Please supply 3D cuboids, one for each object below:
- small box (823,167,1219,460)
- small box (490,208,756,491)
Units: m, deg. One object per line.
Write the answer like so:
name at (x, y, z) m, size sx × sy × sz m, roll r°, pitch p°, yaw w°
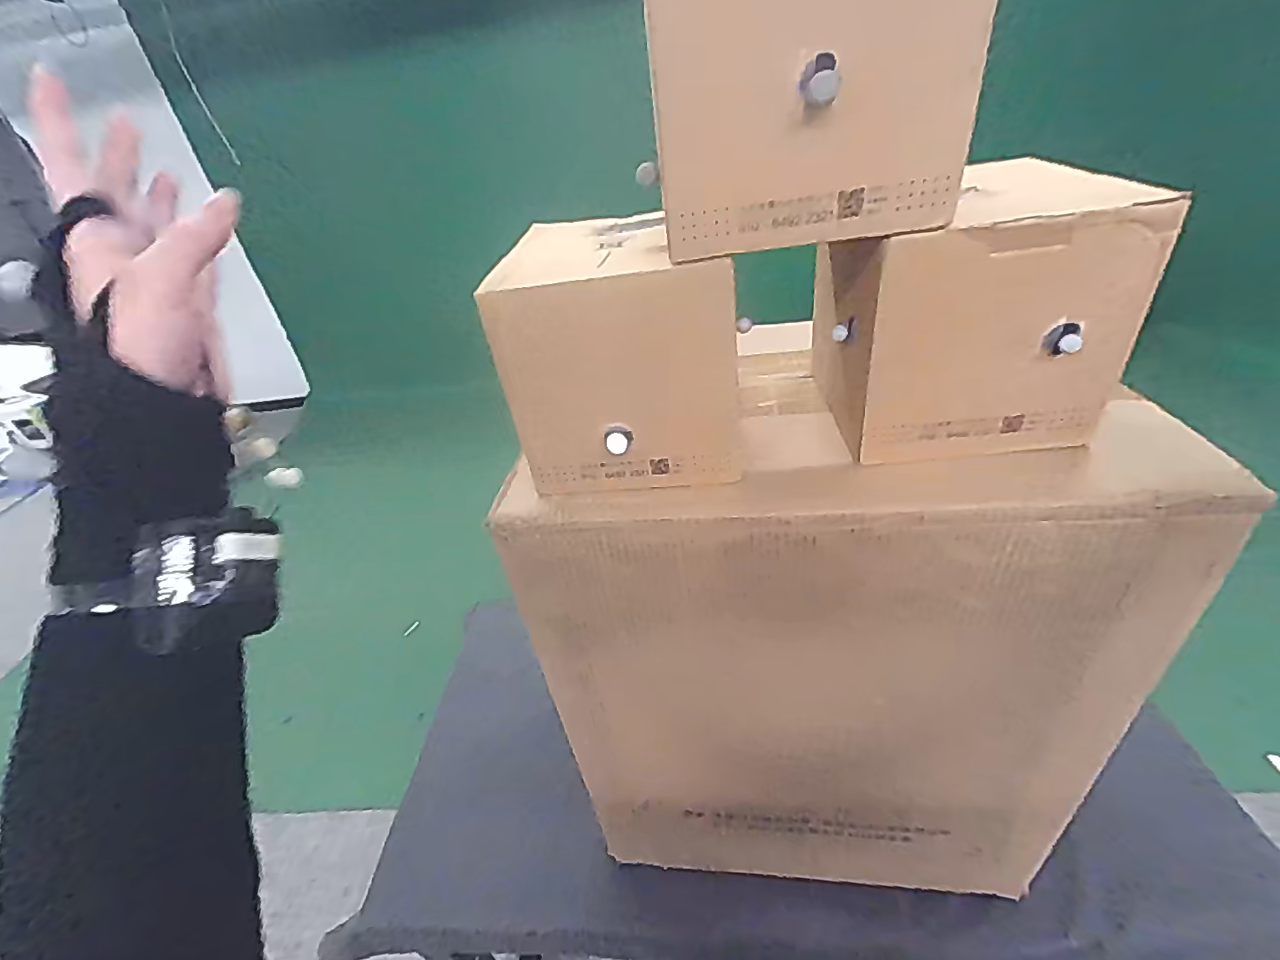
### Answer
small box at (0.250, -0.125, 0.417) m, size 0.168 × 0.176 × 0.179 m, roll -3°, pitch 36°, yaw 4°
small box at (0.006, -0.108, 0.434) m, size 0.168 × 0.176 × 0.179 m, roll -2°, pitch 37°, yaw 11°
